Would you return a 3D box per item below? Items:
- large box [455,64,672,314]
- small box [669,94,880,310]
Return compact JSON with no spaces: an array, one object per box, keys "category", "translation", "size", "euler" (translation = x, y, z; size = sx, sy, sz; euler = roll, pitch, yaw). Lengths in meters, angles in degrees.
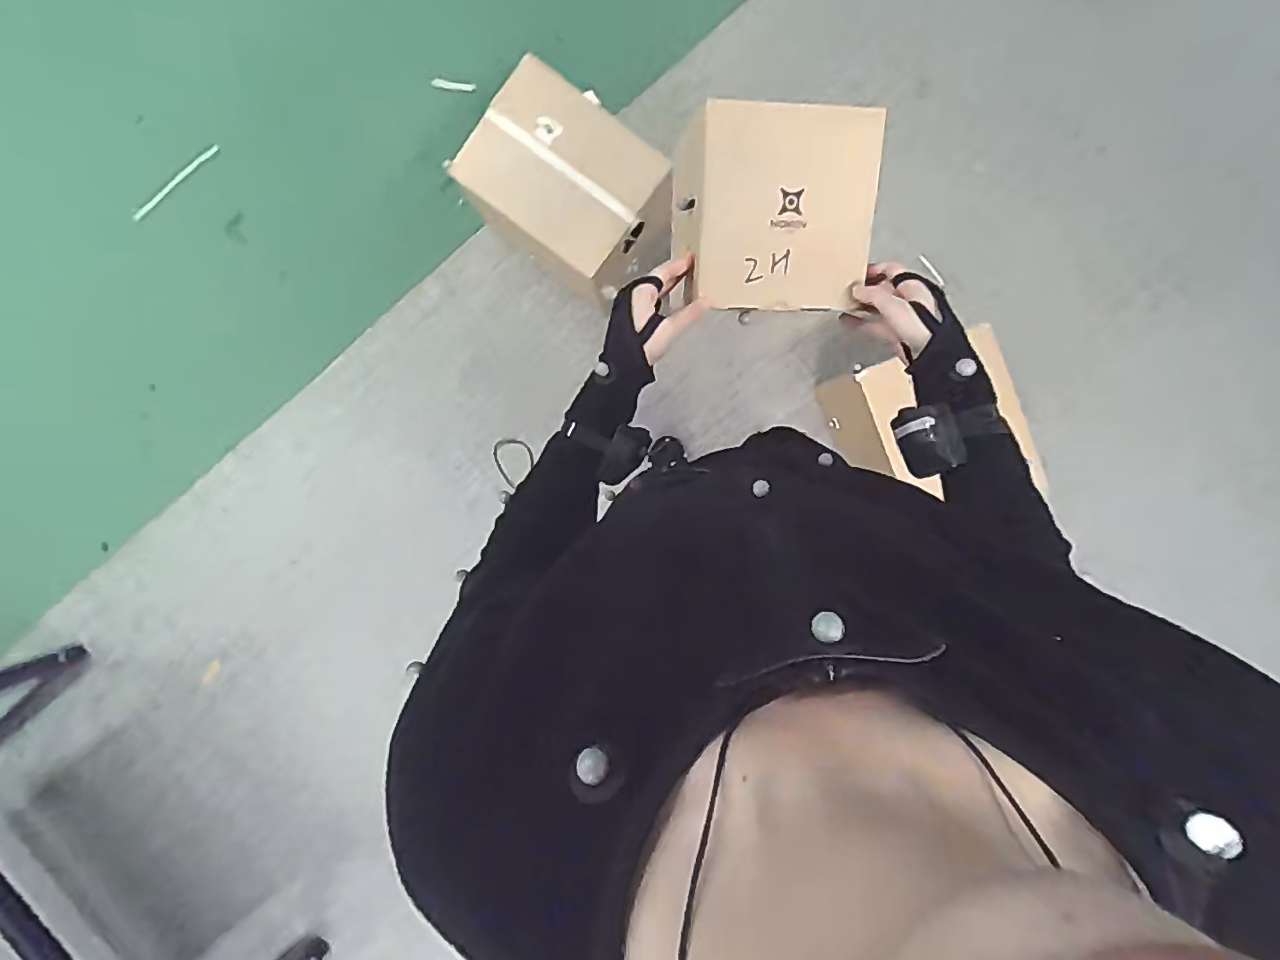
[{"category":"large box","translation":[-0.157,-0.681,1.336],"size":[0.408,0.320,0.320],"euler":[37,92,1]},{"category":"small box","translation":[0.124,-0.273,0.571],"size":[0.168,0.176,0.179],"euler":[-2,108,-6]}]
